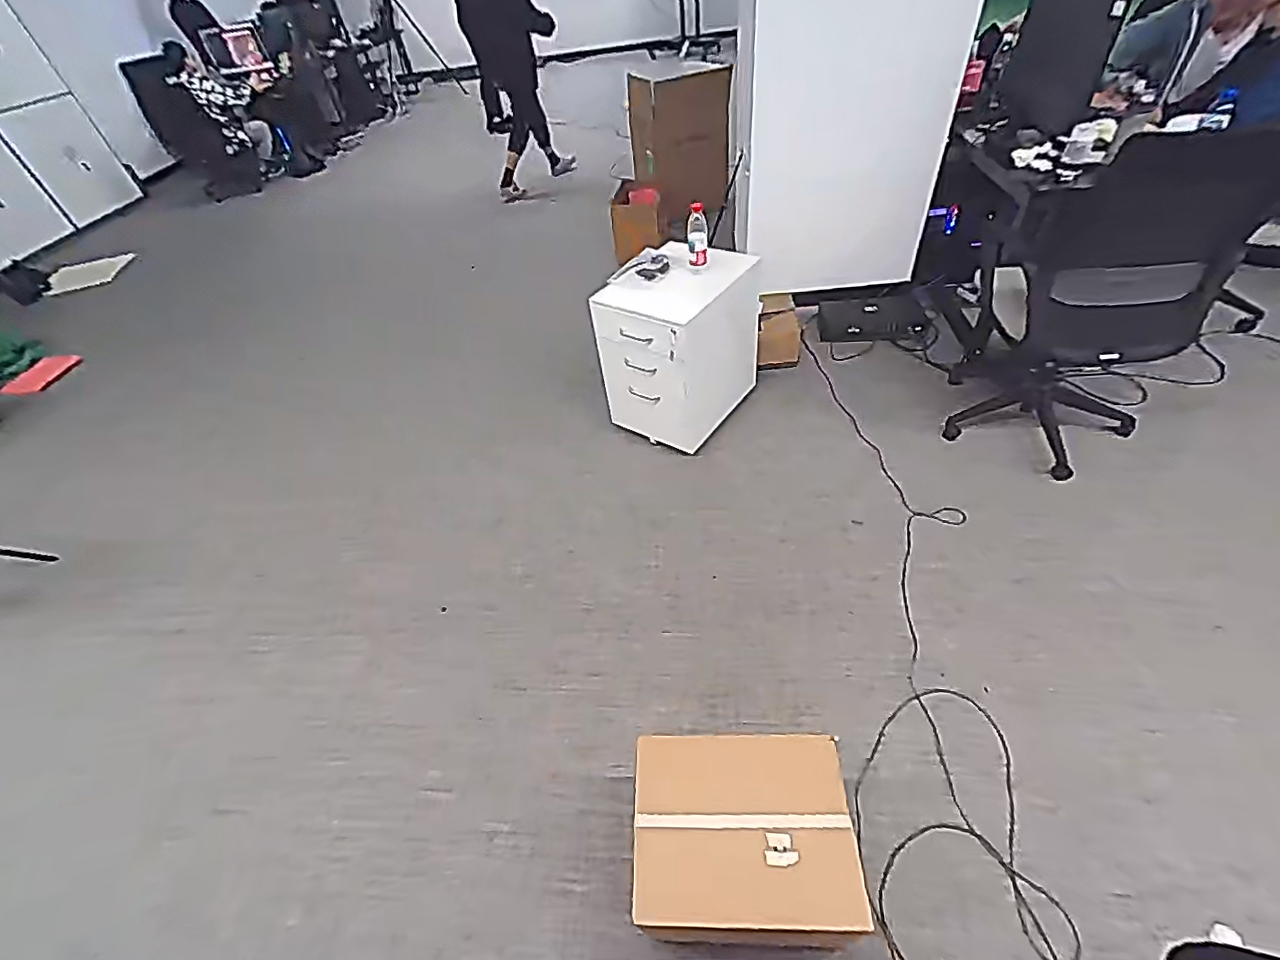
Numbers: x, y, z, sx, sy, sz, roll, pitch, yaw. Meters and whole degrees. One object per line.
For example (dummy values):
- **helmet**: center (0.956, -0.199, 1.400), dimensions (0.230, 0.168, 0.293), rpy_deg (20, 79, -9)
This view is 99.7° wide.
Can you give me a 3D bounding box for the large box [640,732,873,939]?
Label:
- **large box**: center (0.213, 0.744, 1.130), dimensions (0.408, 0.320, 0.320), rpy_deg (-3, 46, 6)
